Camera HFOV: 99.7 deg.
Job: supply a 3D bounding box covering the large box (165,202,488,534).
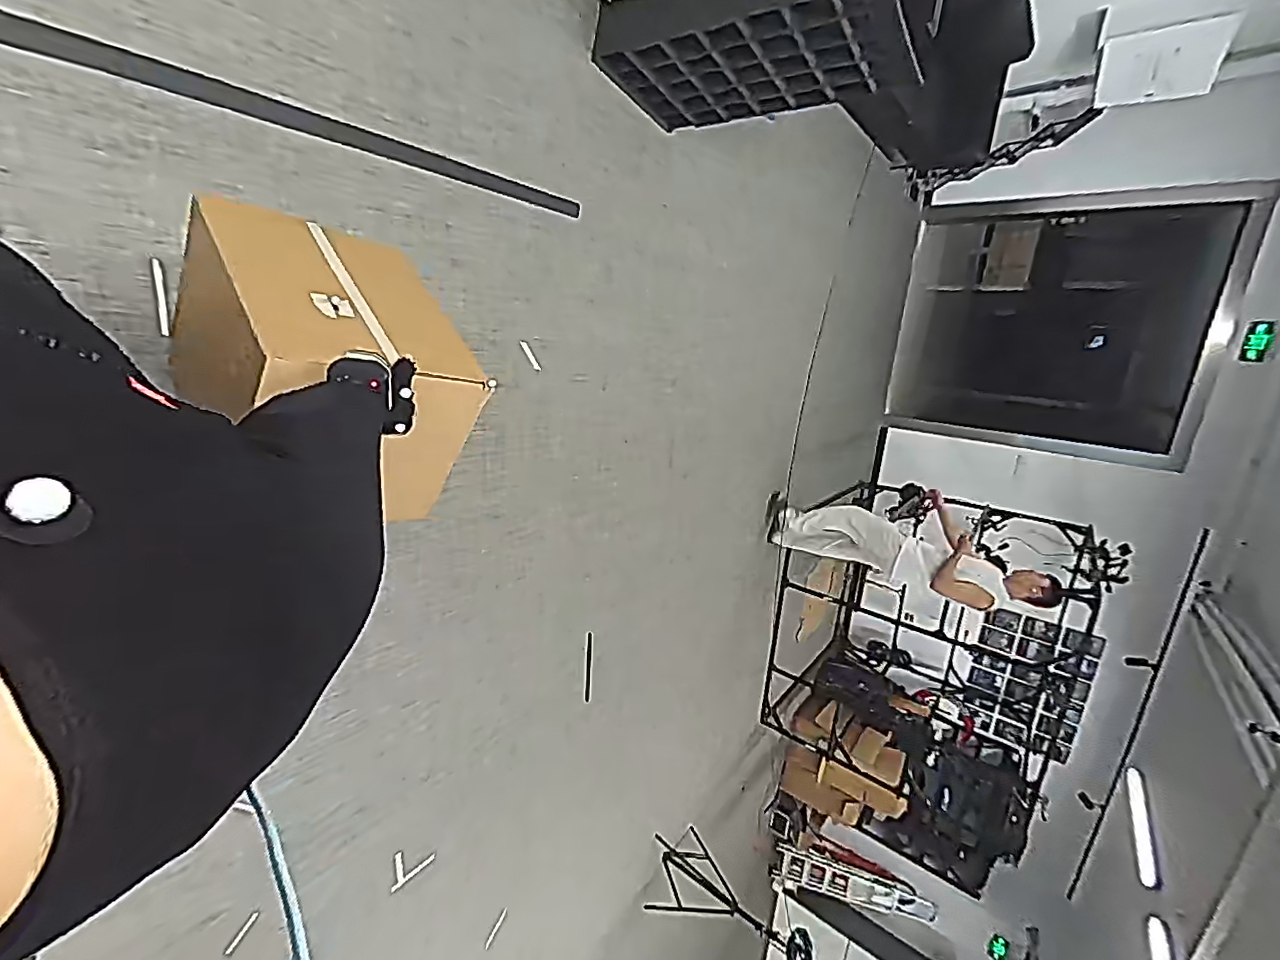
[{"bbox_3d":[-0.534,-0.171,0.904,0.320,0.408,0.320,-4,139,-51],"label":"large box"}]
